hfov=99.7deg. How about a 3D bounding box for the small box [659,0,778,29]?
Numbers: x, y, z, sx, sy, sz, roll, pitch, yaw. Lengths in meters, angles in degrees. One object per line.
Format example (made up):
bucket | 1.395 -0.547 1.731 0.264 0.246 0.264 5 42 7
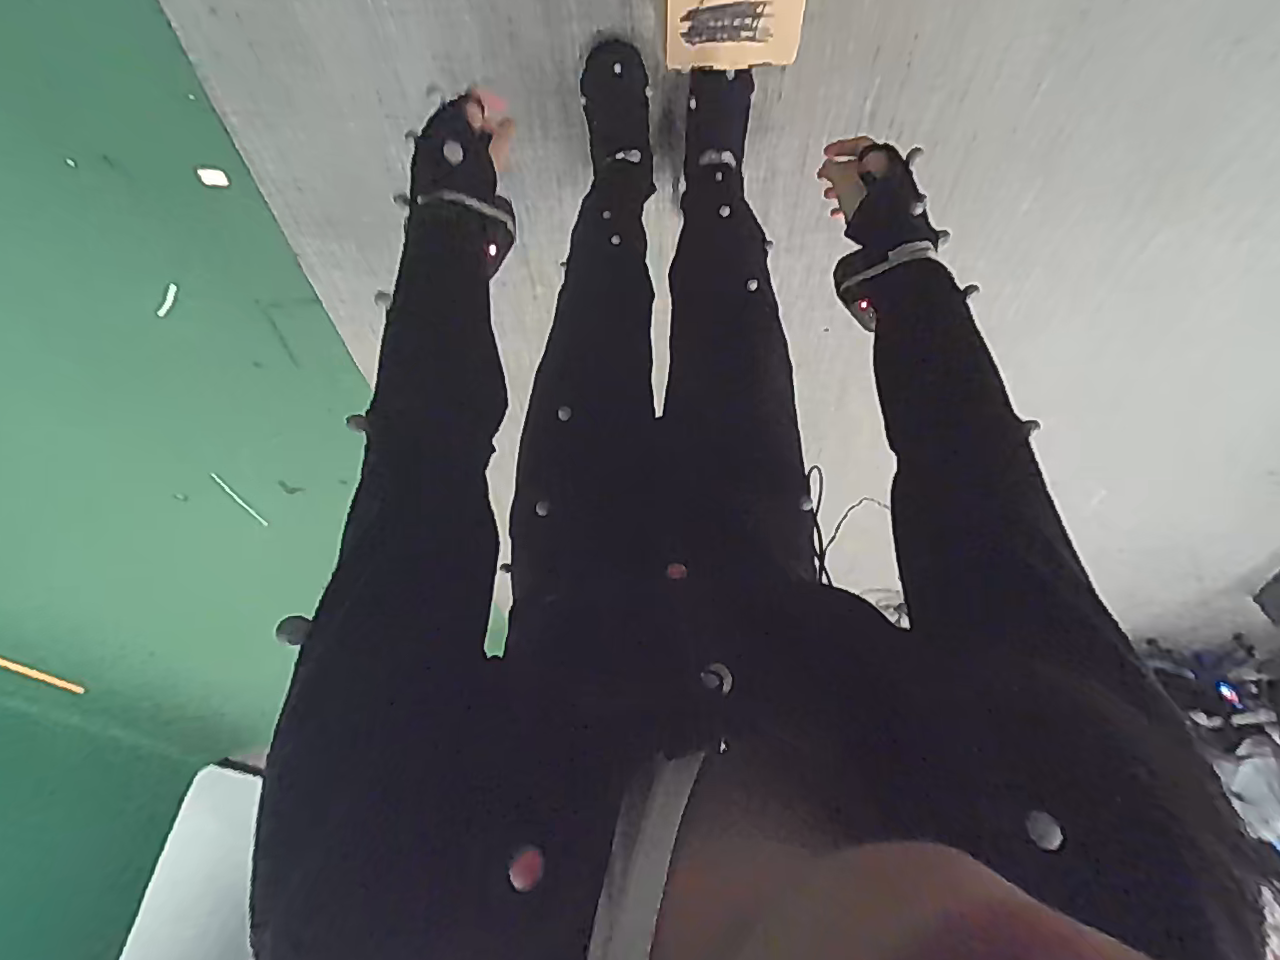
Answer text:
small box | 0.108 -0.773 0.764 0.168 0.176 0.179 -3 143 -1
